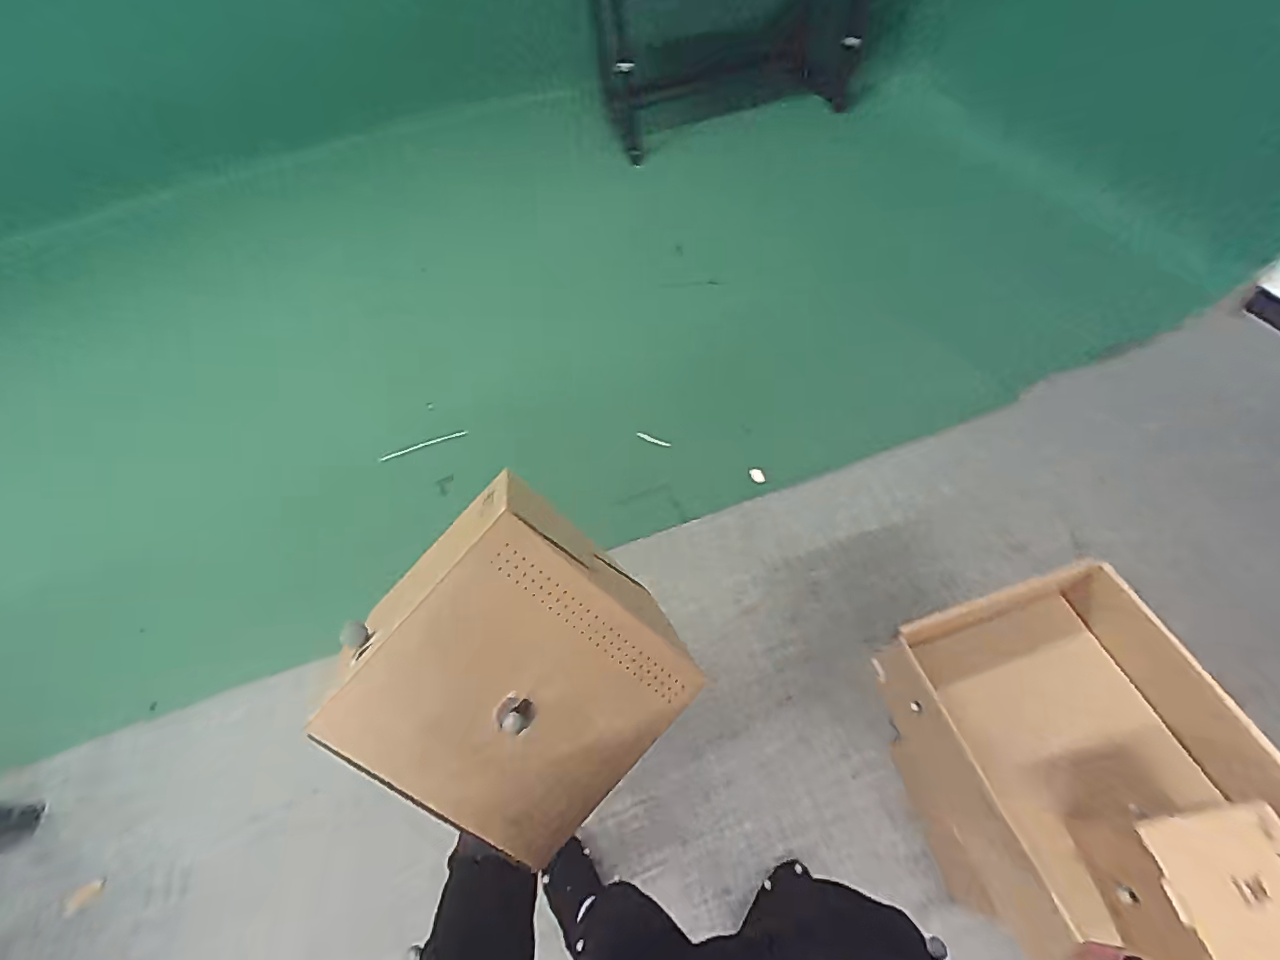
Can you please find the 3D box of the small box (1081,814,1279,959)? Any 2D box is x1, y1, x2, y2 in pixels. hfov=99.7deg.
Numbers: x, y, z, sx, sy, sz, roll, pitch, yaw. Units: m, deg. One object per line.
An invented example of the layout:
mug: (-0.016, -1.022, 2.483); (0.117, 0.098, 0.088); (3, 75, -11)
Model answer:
small box: (0.738, 0.553, 0.714); (0.179, 0.176, 0.168); (-10, 56, 1)
